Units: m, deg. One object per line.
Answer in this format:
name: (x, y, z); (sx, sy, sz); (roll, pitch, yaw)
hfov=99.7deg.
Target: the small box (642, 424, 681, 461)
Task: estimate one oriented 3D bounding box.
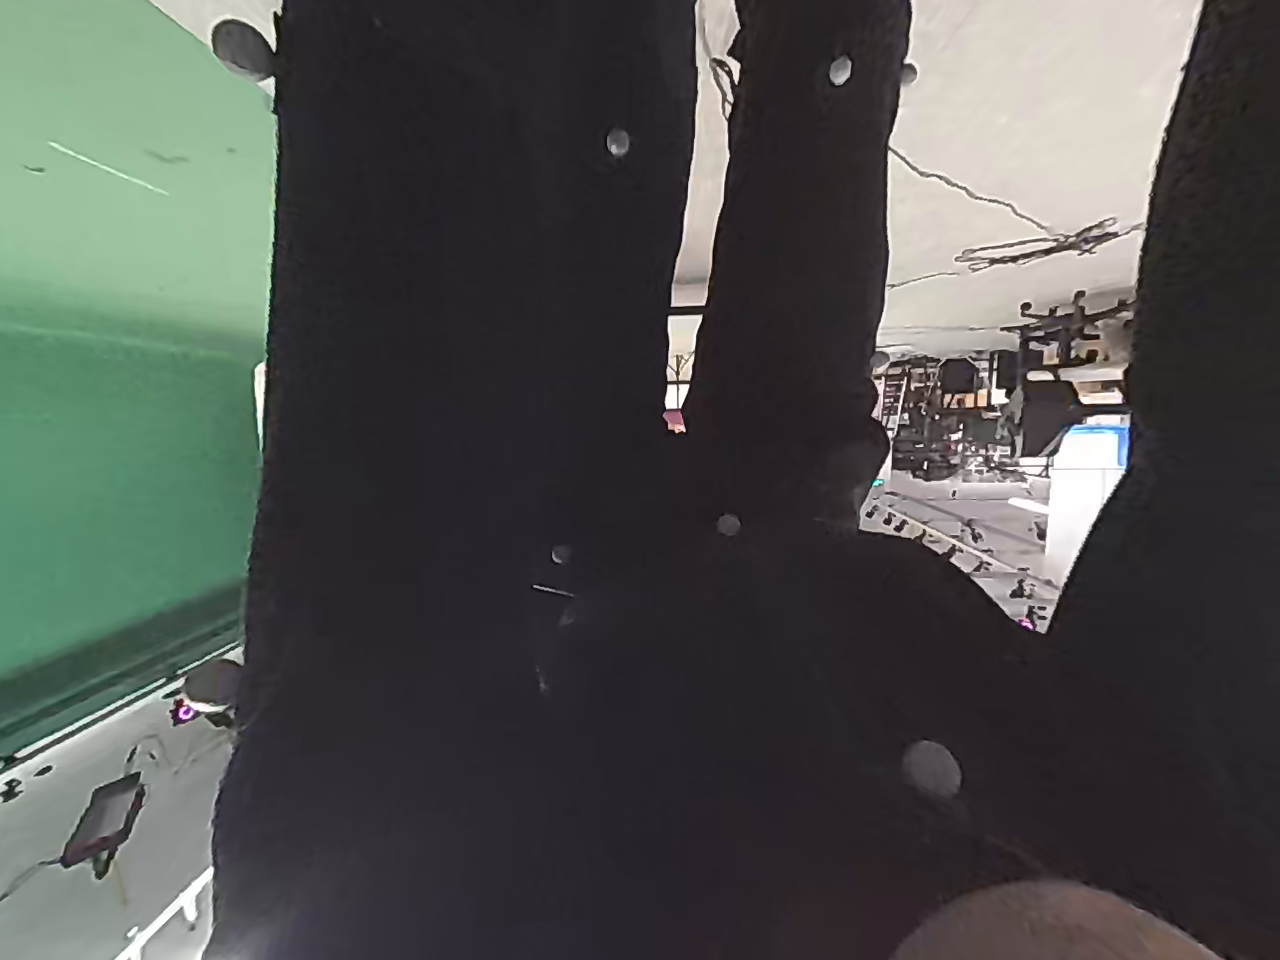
small box: (0.108, -0.187, 2.671); (0.179, 0.176, 0.168); (1, -173, 10)
